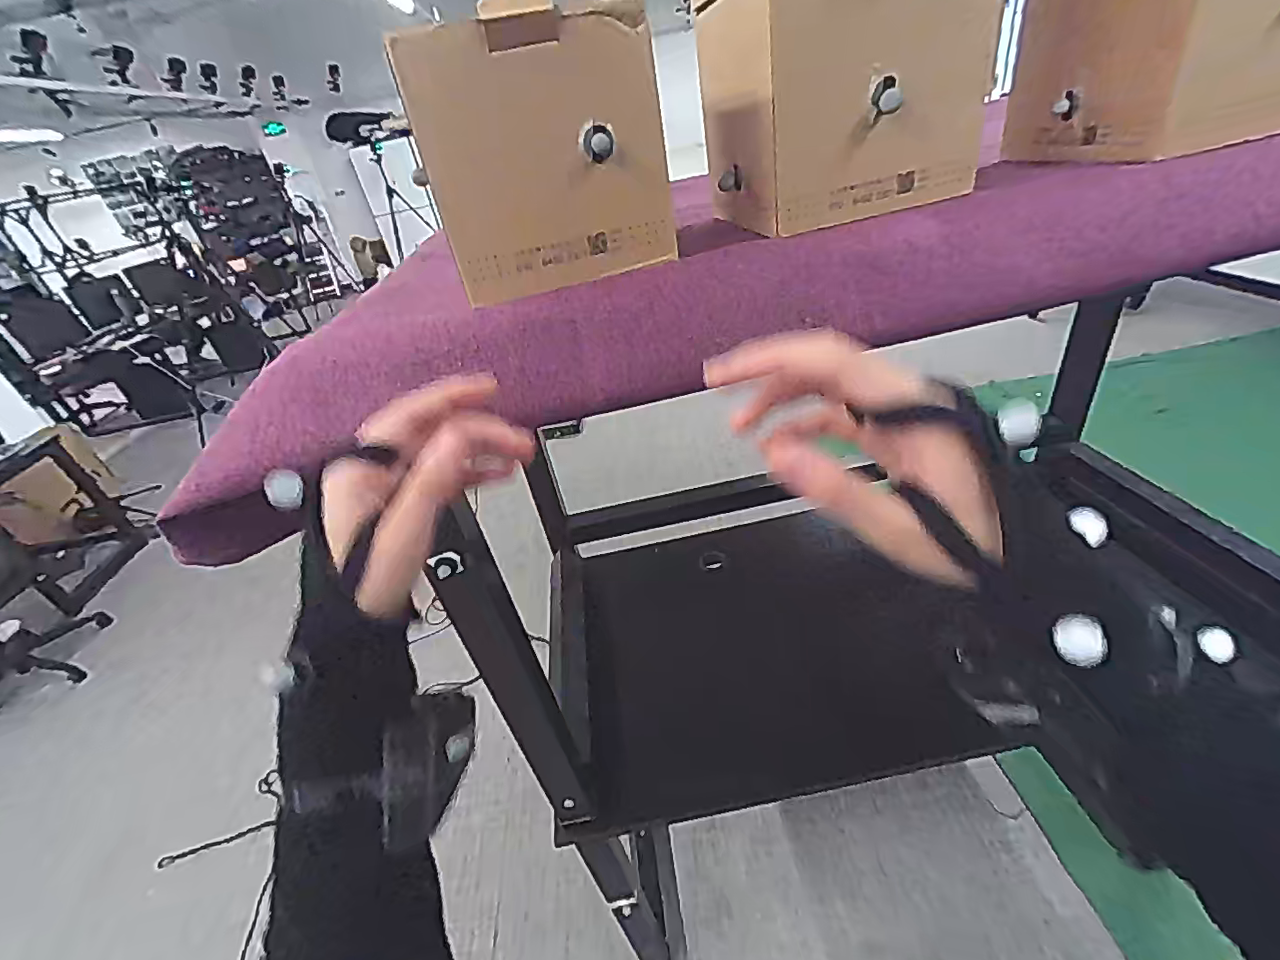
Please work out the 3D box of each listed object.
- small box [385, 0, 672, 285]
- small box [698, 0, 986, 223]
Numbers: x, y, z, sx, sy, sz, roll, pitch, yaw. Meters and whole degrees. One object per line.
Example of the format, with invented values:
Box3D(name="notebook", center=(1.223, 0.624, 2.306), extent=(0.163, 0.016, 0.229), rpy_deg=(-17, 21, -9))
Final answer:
Box3D(name="small box", center=(-0.078, -0.269, 0.441), extent=(0.168, 0.176, 0.179), rpy_deg=(-14, 32, -5))
Box3D(name="small box", center=(0.156, -0.324, 0.448), extent=(0.168, 0.176, 0.179), rpy_deg=(-14, 33, -3))
